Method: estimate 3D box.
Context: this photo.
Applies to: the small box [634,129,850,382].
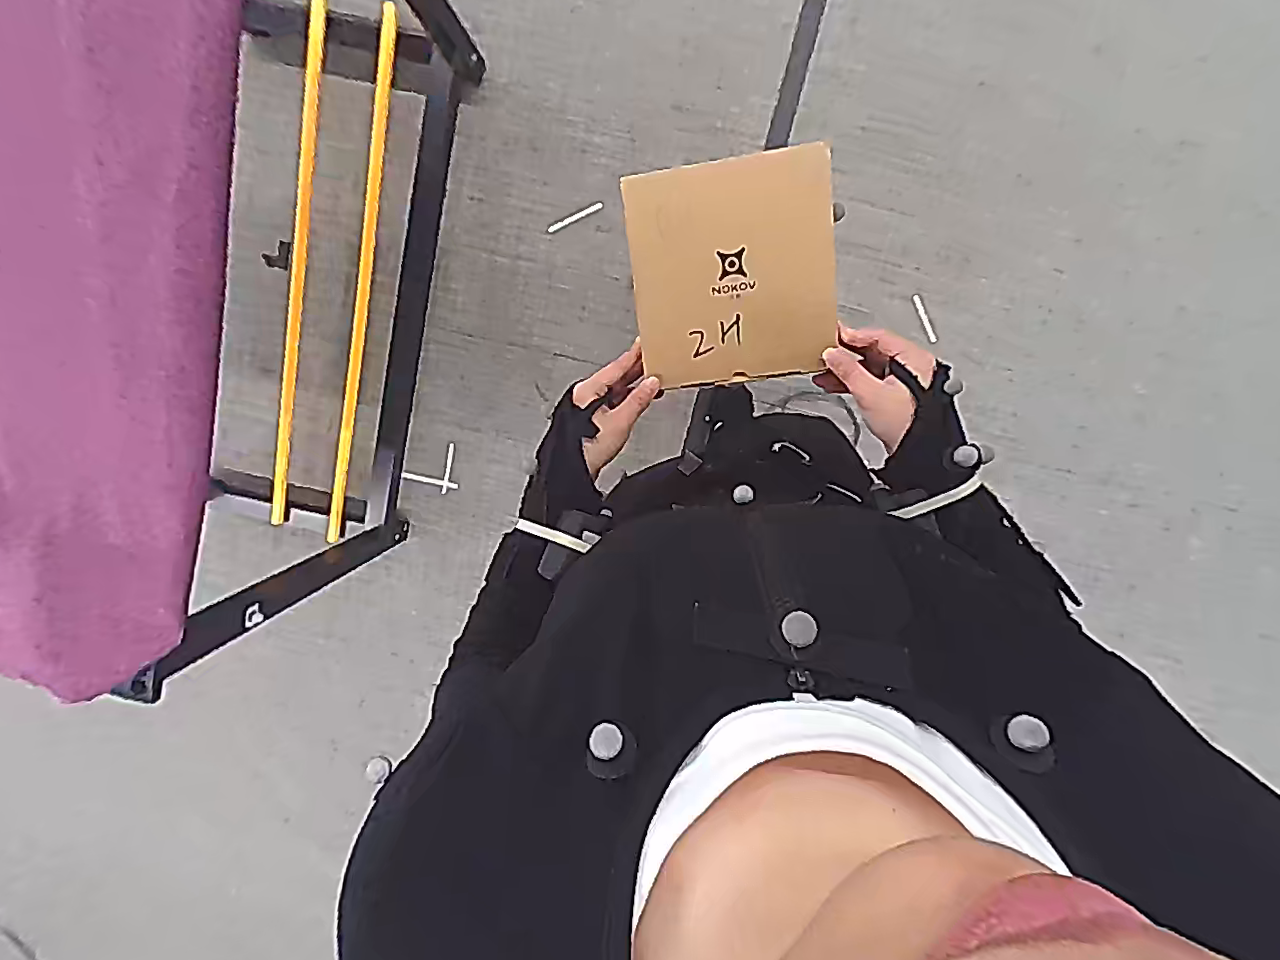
[{"bbox_3d":[0.092,-0.191,0.509,0.168,0.176,0.179,-5,104,9],"label":"small box"}]
